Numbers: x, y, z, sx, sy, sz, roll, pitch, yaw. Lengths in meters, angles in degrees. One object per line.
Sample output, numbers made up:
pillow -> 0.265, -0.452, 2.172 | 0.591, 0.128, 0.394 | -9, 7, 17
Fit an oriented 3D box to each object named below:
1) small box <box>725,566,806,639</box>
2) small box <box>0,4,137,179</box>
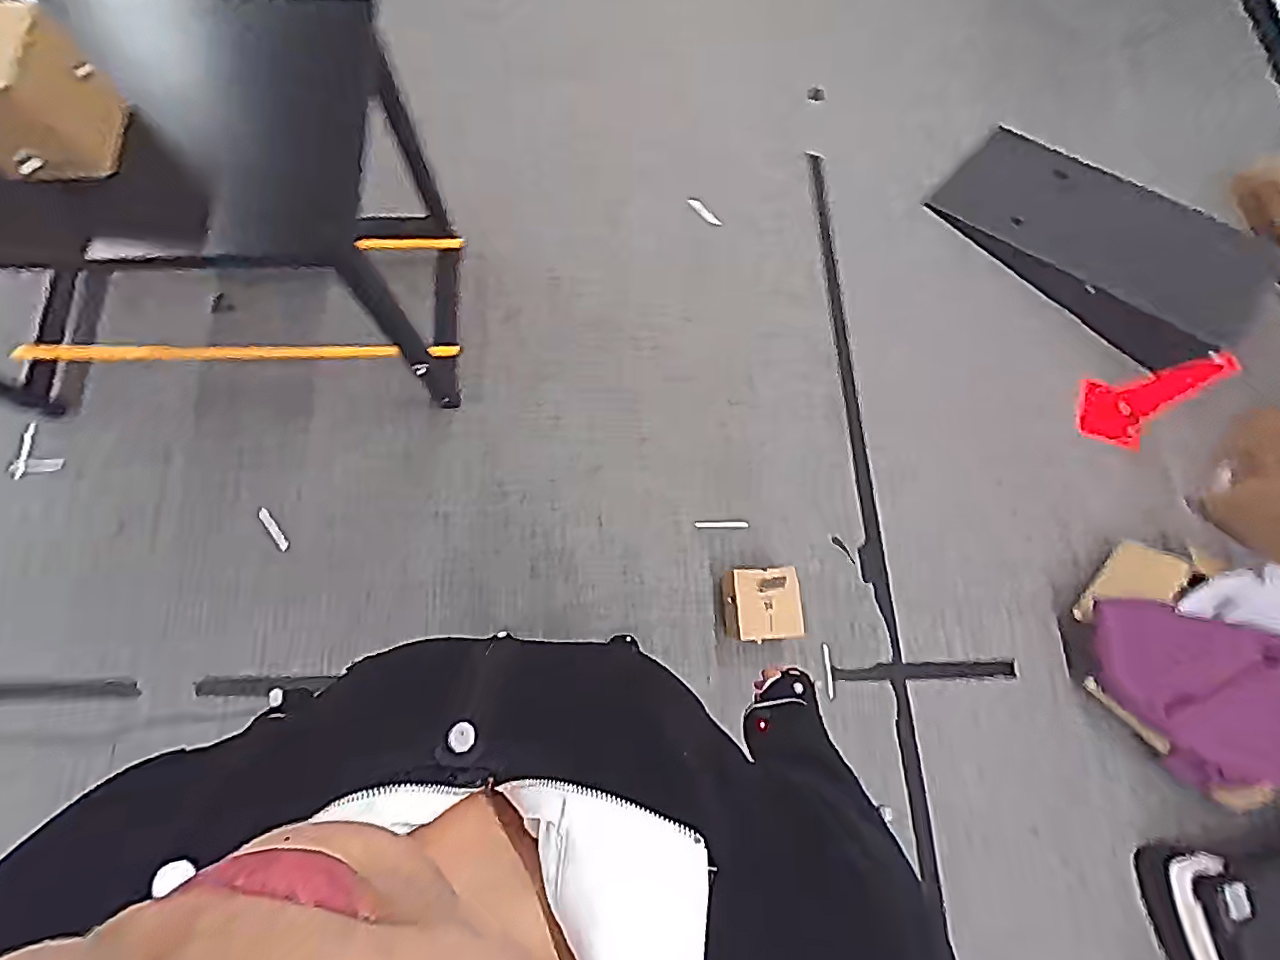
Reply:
small box -> 0.327, 0.330, 1.442 | 0.168, 0.176, 0.179 | -2, 76, -3
small box -> -0.991, -0.633, 0.892 | 0.168, 0.176, 0.179 | -3, 76, -2
